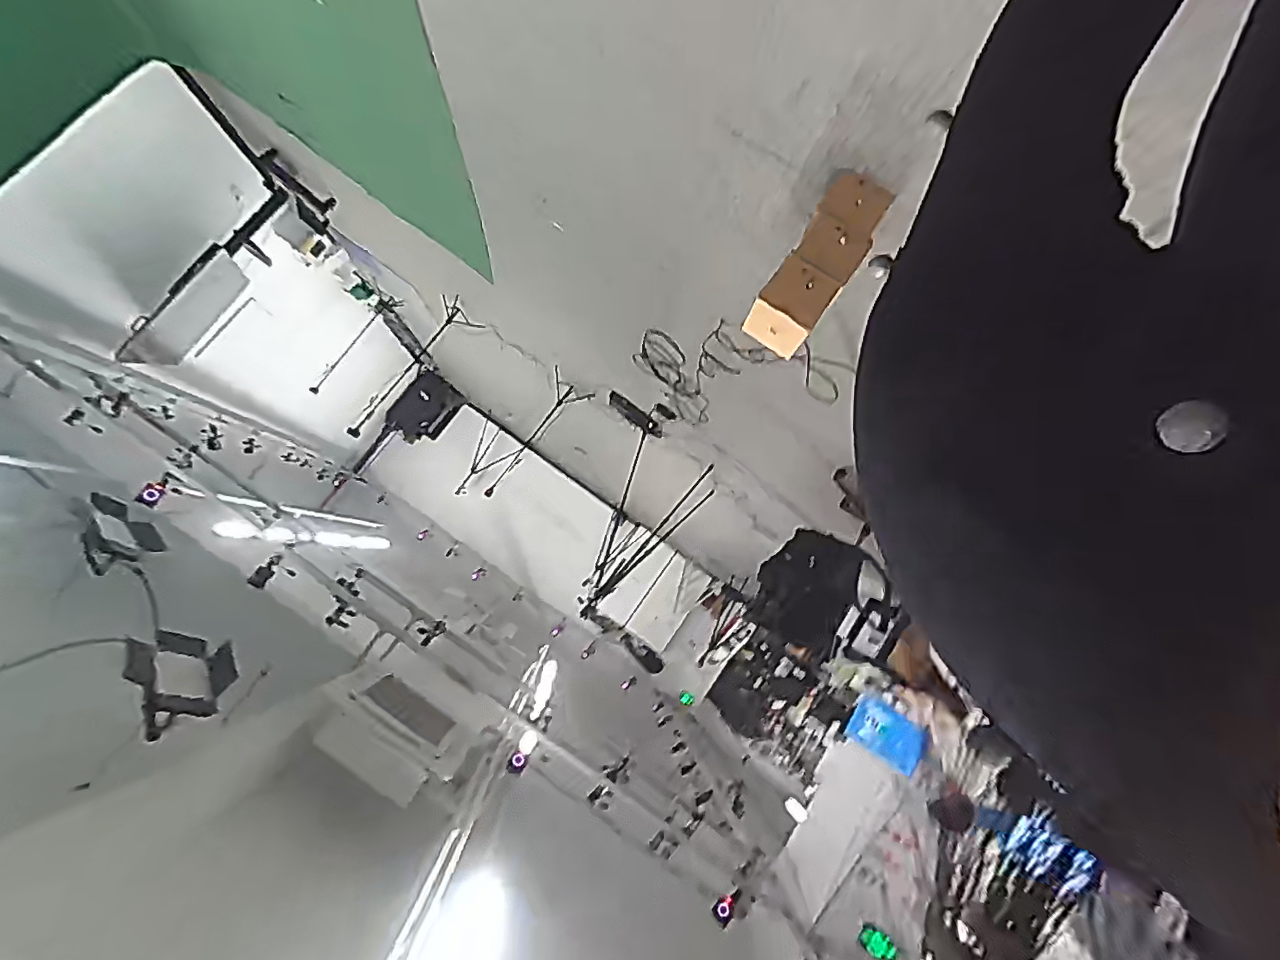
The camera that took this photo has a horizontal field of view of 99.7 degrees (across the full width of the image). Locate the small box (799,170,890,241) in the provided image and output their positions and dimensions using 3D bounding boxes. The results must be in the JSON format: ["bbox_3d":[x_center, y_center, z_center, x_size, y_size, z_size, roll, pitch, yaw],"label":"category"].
[{"bbox_3d":[0.587,-0.744,1.558,0.168,0.176,0.179,35,170,7],"label":"small box"}]

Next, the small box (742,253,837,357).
[{"bbox_3d":[0.409,-0.480,1.487,0.168,0.176,0.179,35,168,5],"label":"small box"}]

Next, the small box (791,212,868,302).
[{"bbox_3d":[0.507,-0.604,1.522,0.168,0.176,0.179,35,168,3],"label":"small box"}]
